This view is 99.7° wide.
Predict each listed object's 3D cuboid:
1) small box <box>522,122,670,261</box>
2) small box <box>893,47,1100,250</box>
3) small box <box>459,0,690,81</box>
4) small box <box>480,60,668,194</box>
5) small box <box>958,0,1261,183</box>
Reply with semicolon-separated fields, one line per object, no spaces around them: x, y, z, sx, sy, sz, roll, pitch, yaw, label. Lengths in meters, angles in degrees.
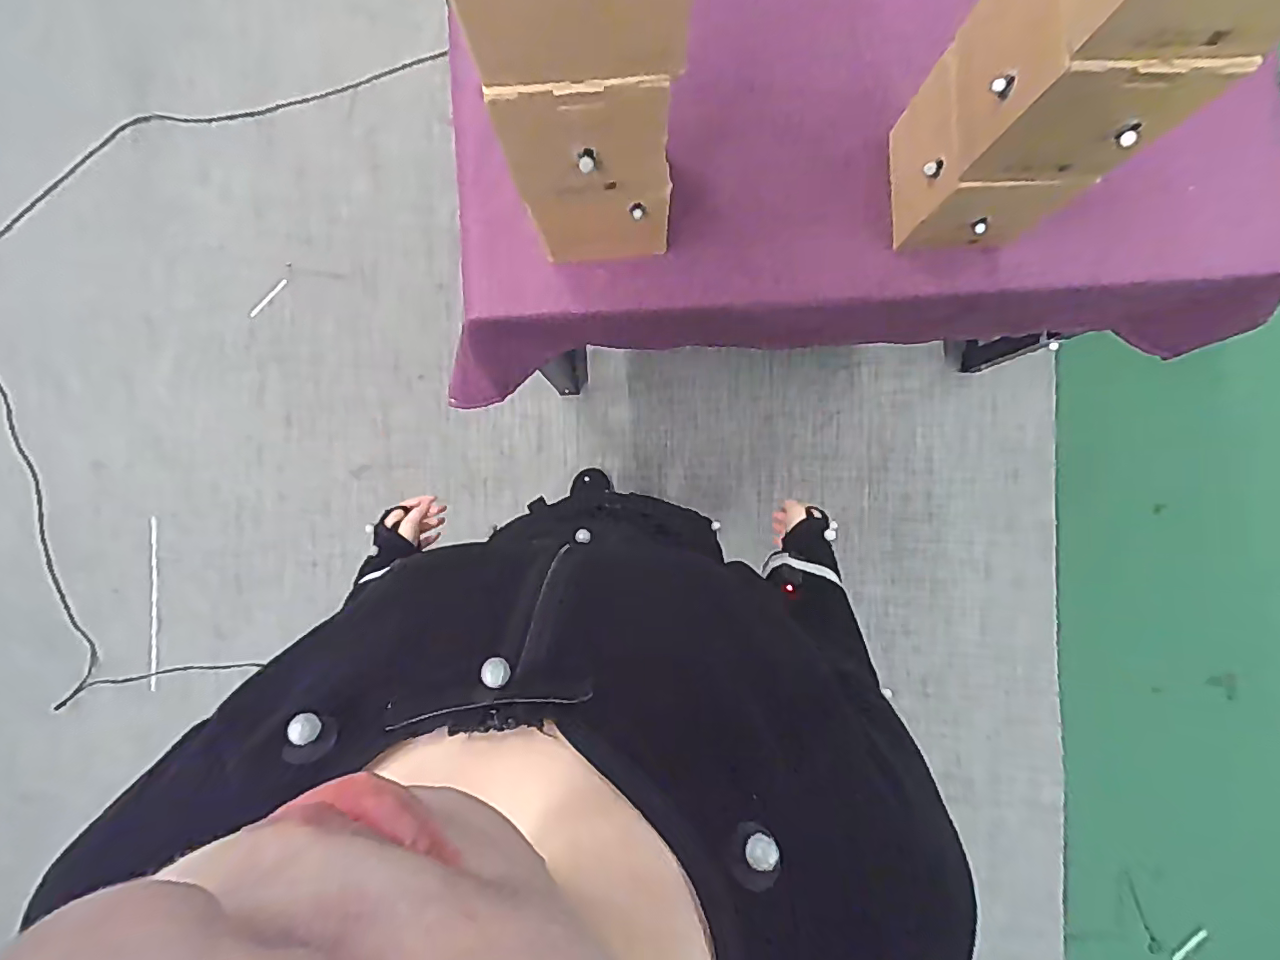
-0.054;-0.406;0.714;0.179;0.176;0.168;-4;88;0;small box
0.449;-0.416;0.706;0.168;0.176;0.179;-1;88;0;small box
-0.052;-0.425;0.385;0.179;0.176;0.168;-4;88;-1;small box
-0.060;-0.415;0.550;0.168;0.176;0.179;-4;88;-1;small box
0.447;-0.426;0.543;0.168;0.176;0.179;1;88;1;small box
